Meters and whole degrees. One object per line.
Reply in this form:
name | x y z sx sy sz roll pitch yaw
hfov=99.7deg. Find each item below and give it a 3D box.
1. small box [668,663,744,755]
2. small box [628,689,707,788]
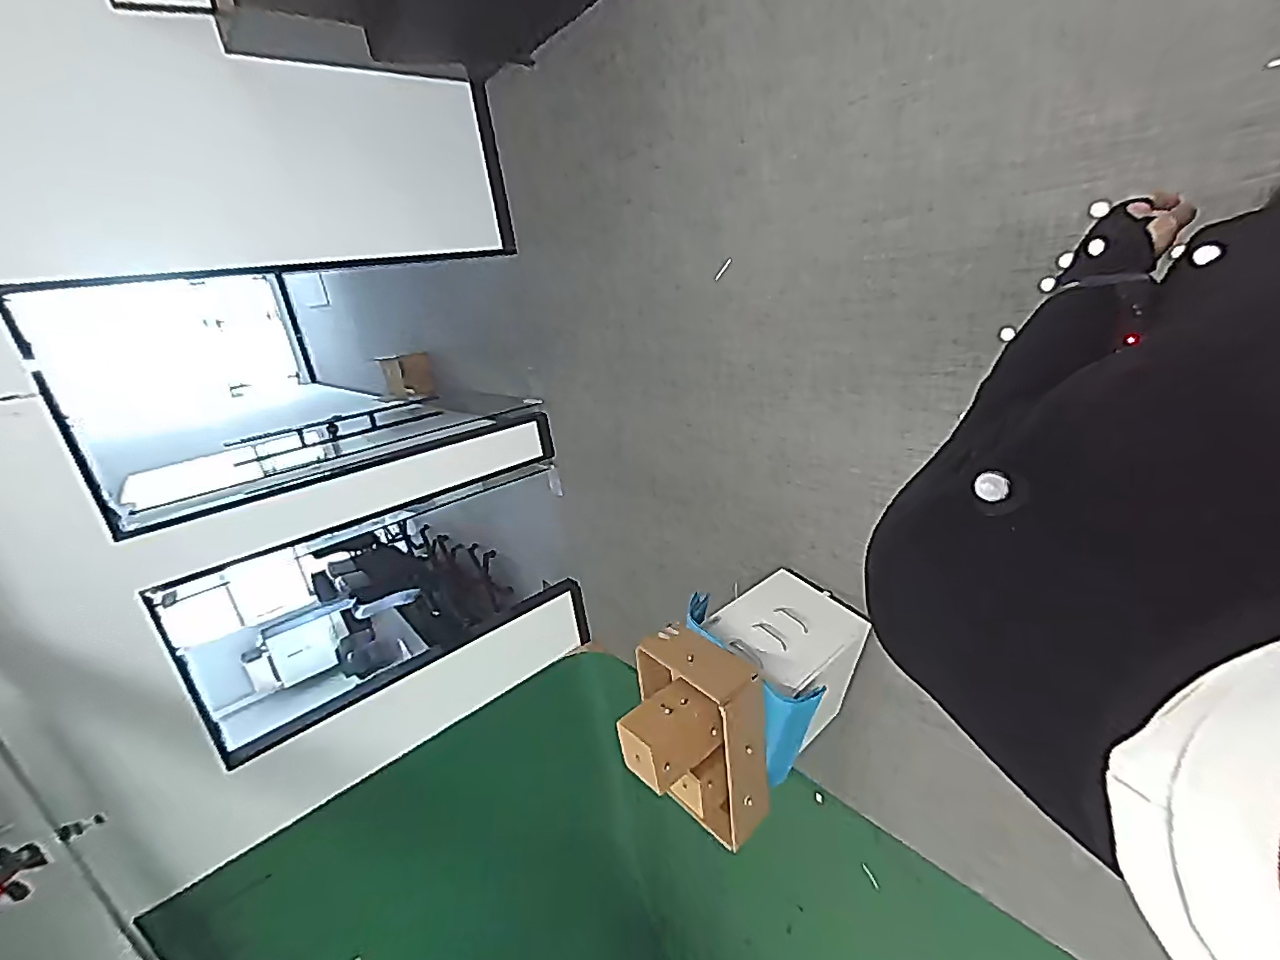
small box | 0.217 0.730 1.740 0.168 0.176 0.179 15 121 51
small box | 0.089 0.782 1.652 0.168 0.176 0.179 13 118 51
